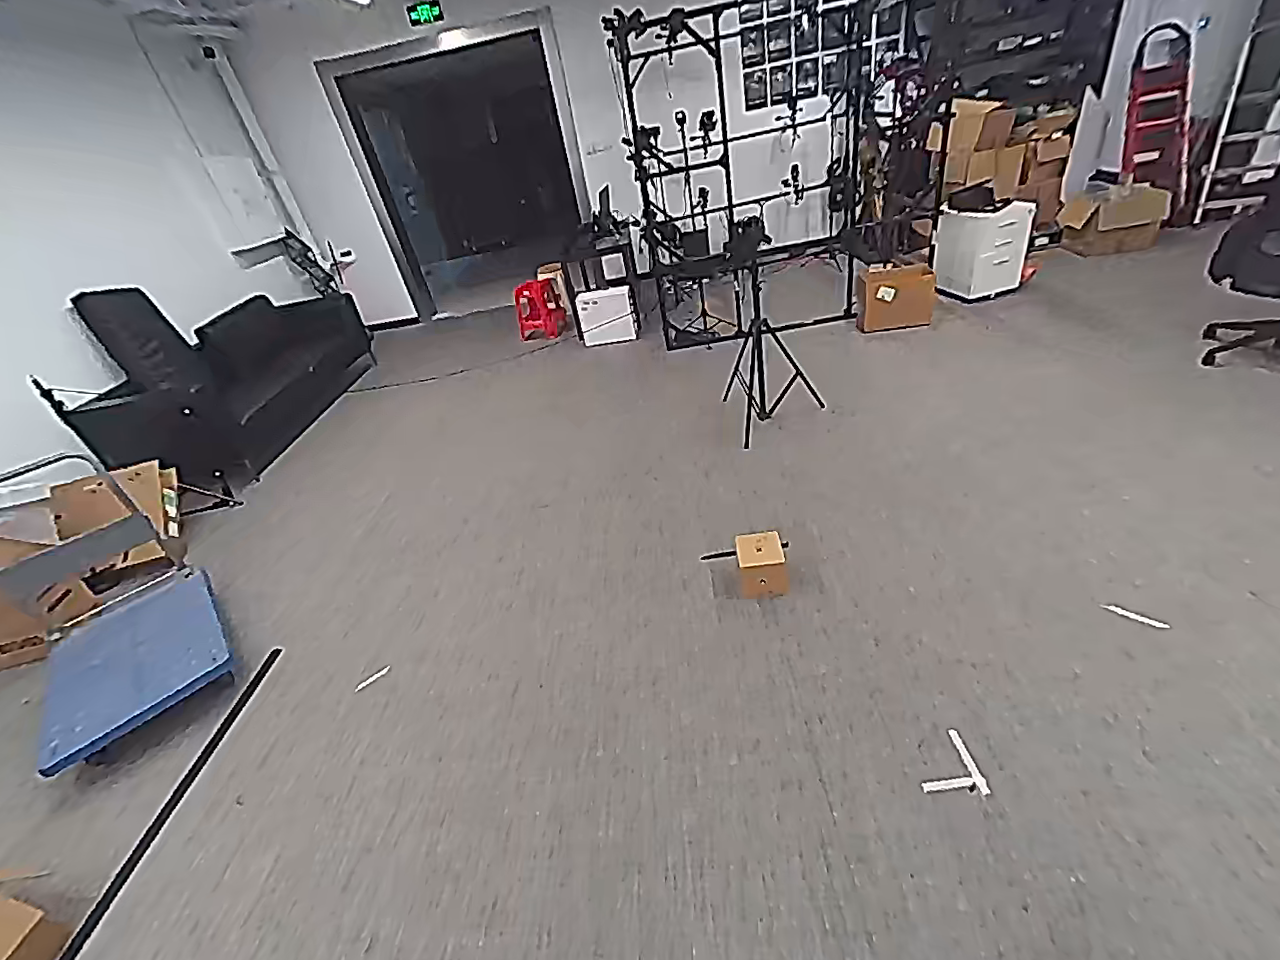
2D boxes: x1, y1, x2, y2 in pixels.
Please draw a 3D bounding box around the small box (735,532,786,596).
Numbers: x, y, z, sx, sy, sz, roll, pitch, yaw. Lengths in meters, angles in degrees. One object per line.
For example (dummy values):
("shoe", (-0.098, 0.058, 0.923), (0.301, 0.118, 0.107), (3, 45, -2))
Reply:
("small box", (0.458, 0.326, 2.057), (0.168, 0.176, 0.179), (-7, 33, 7))
